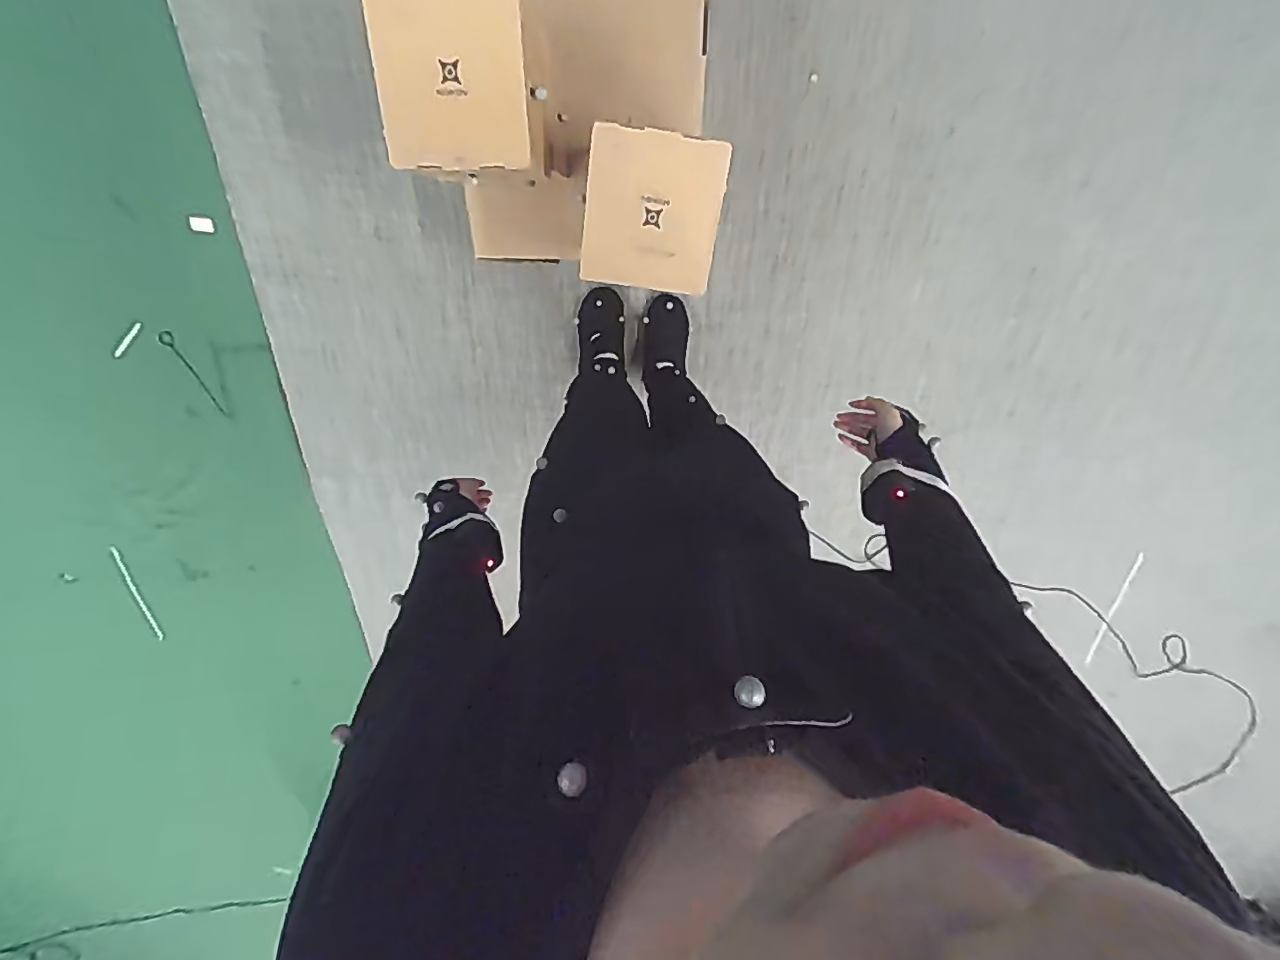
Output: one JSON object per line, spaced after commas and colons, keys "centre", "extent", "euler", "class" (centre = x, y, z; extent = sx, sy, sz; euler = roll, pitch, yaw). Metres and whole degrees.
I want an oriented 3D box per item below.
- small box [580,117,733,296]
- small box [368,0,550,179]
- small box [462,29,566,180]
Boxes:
{"centre": [0.013, -0.361, 0.727], "extent": [0.168, 0.176, 0.179], "euler": [7, 117, -5], "class": "small box"}
{"centre": [-0.206, -0.478, 0.665], "extent": [0.168, 0.176, 0.179], "euler": [0, 117, -1], "class": "small box"}
{"centre": [-0.206, -0.551, 0.811], "extent": [0.179, 0.176, 0.168], "euler": [-1, 116, 0], "class": "small box"}
